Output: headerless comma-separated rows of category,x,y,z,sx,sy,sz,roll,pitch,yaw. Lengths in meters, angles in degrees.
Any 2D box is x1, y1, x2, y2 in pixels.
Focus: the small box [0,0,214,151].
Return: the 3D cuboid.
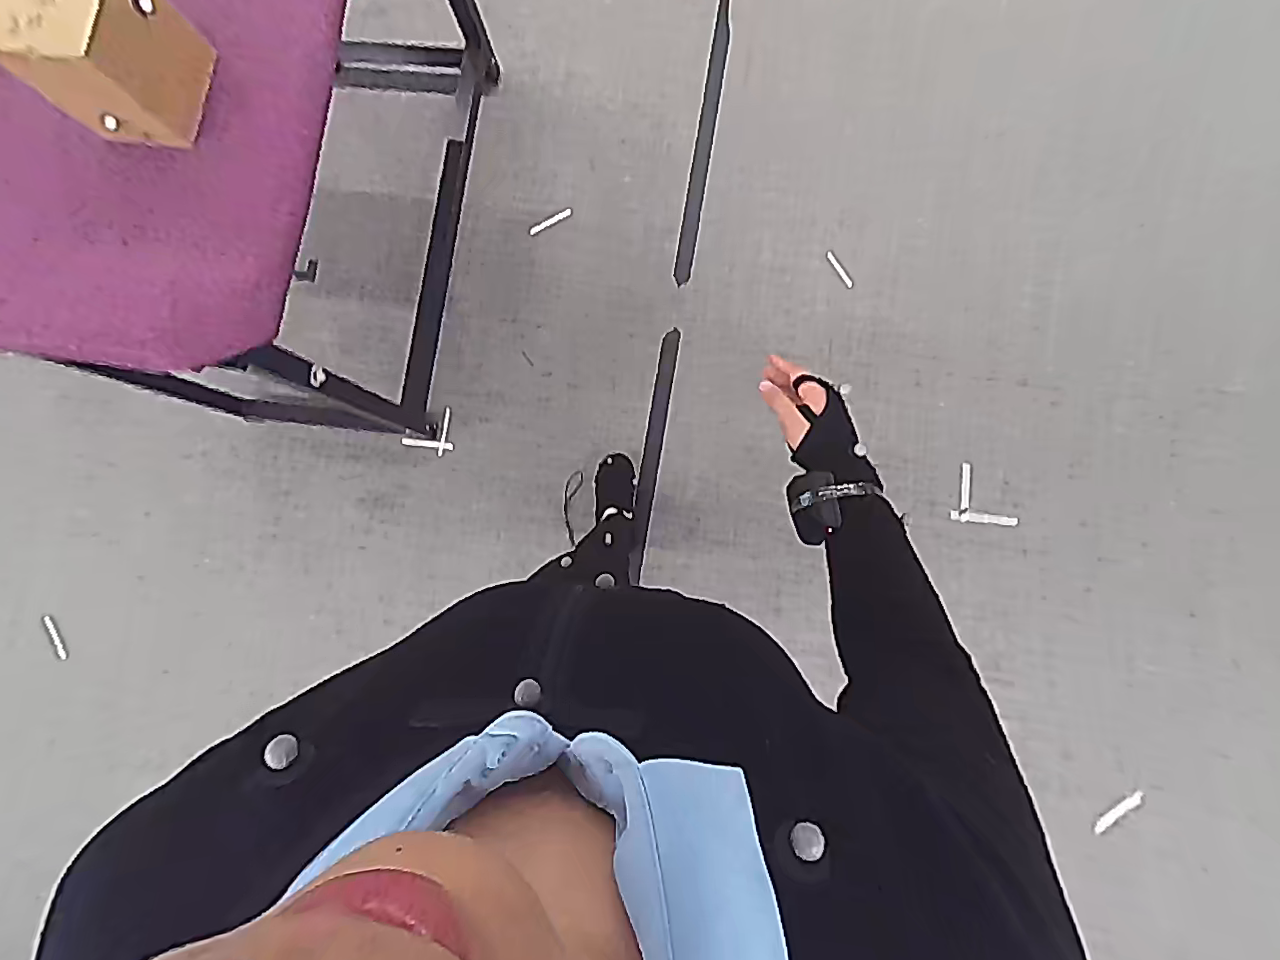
small box,-0.792,-0.637,0.808,0.168,0.176,0.179,9,84,5
